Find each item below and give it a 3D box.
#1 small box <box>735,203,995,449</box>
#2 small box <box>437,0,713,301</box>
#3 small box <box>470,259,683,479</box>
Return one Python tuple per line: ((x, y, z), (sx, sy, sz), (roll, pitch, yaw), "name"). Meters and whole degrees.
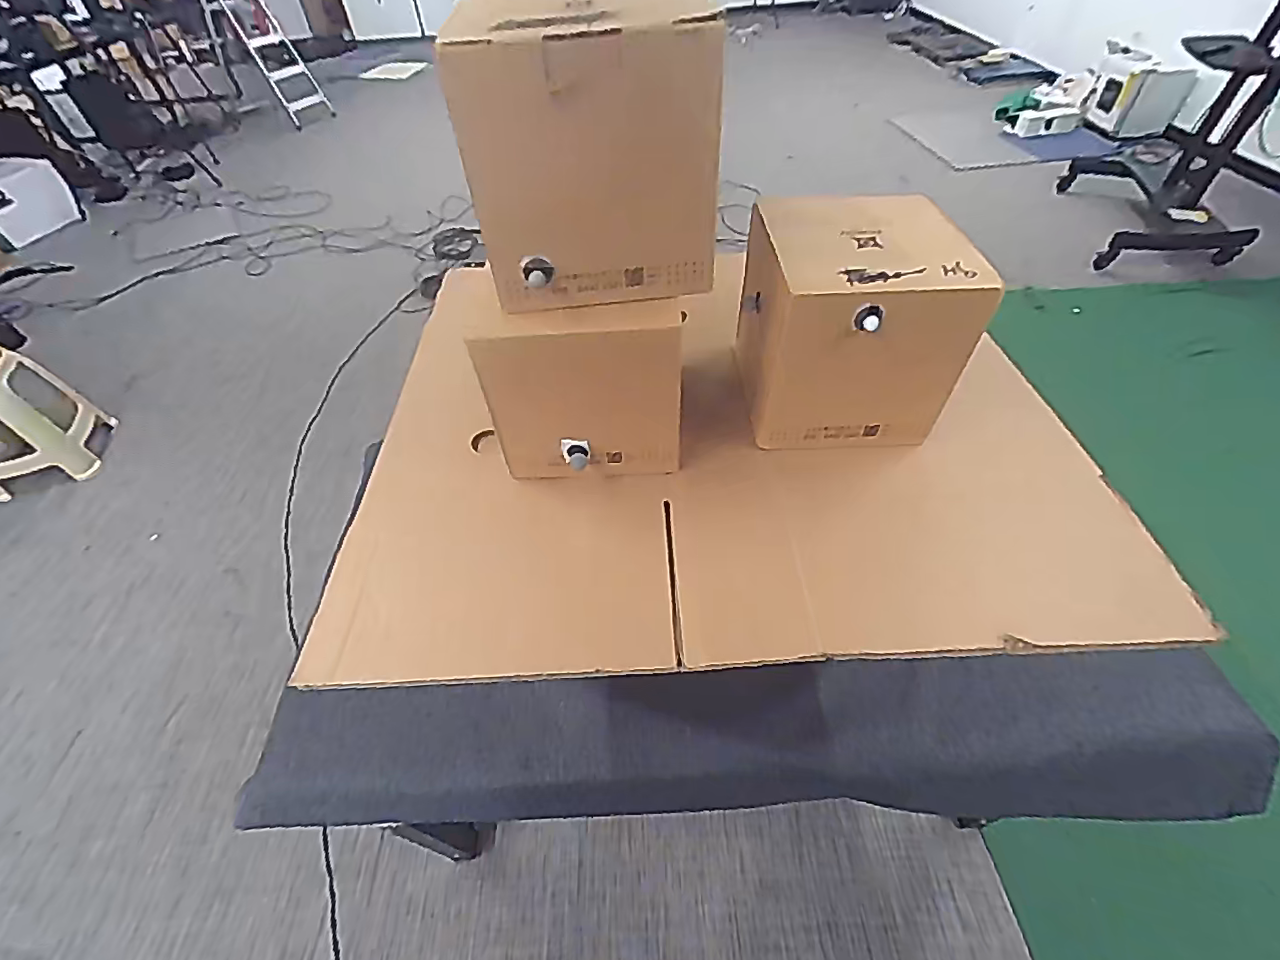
((0.191, -0.150, 0.528), (0.168, 0.176, 0.179), (-1, 48, 0), "small box")
((-0.039, -0.254, 0.423), (0.168, 0.176, 0.179), (-6, 48, -1), "small box")
((-0.048, -0.121, 0.526), (0.168, 0.176, 0.179), (-4, 51, 1), "small box")
